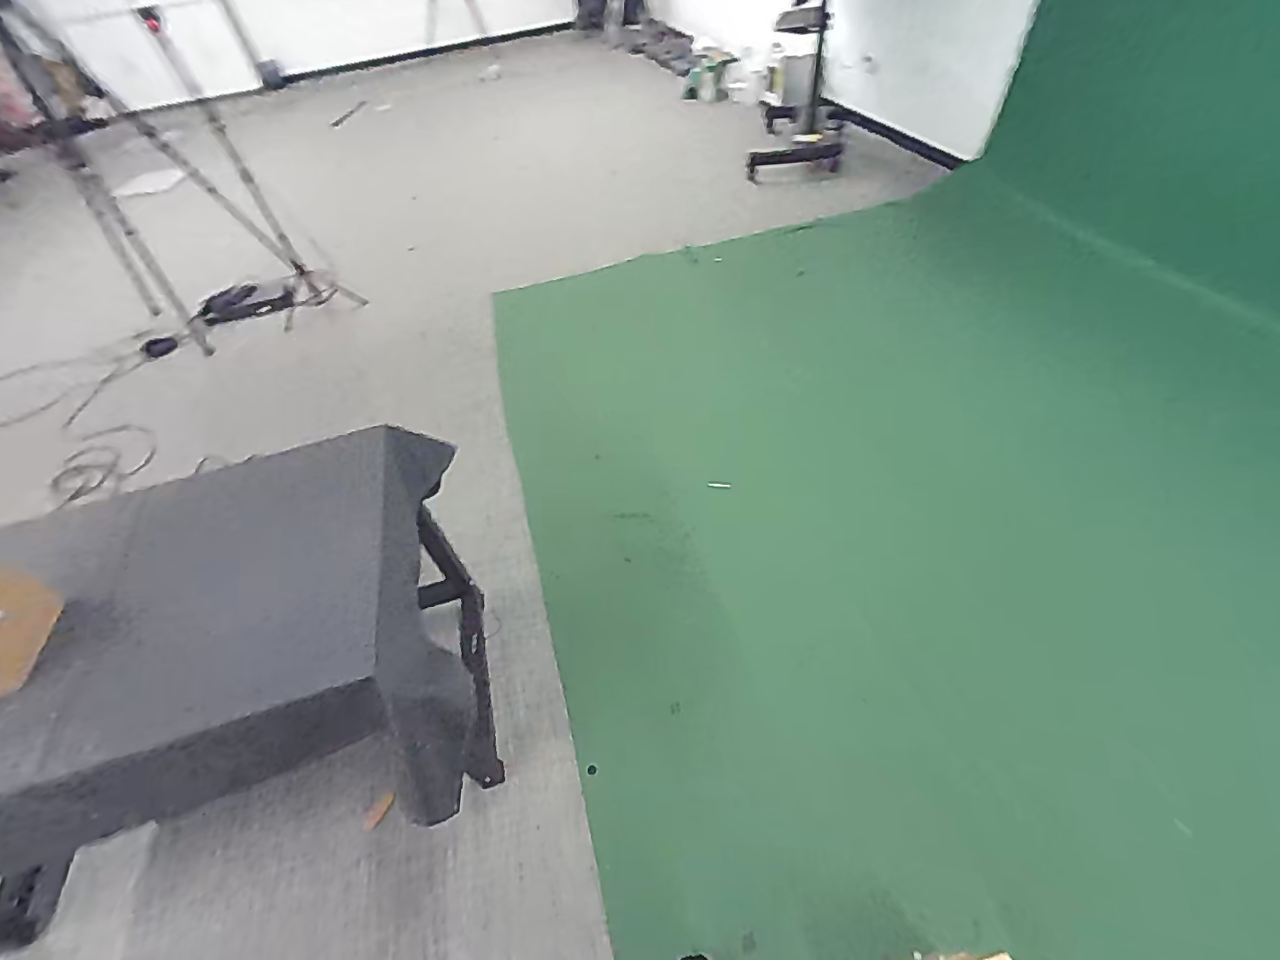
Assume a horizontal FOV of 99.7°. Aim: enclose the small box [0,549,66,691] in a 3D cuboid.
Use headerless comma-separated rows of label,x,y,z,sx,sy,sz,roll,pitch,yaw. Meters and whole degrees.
small box,-1.093,0.232,0.859,0.168,0.176,0.179,-15,48,-6
